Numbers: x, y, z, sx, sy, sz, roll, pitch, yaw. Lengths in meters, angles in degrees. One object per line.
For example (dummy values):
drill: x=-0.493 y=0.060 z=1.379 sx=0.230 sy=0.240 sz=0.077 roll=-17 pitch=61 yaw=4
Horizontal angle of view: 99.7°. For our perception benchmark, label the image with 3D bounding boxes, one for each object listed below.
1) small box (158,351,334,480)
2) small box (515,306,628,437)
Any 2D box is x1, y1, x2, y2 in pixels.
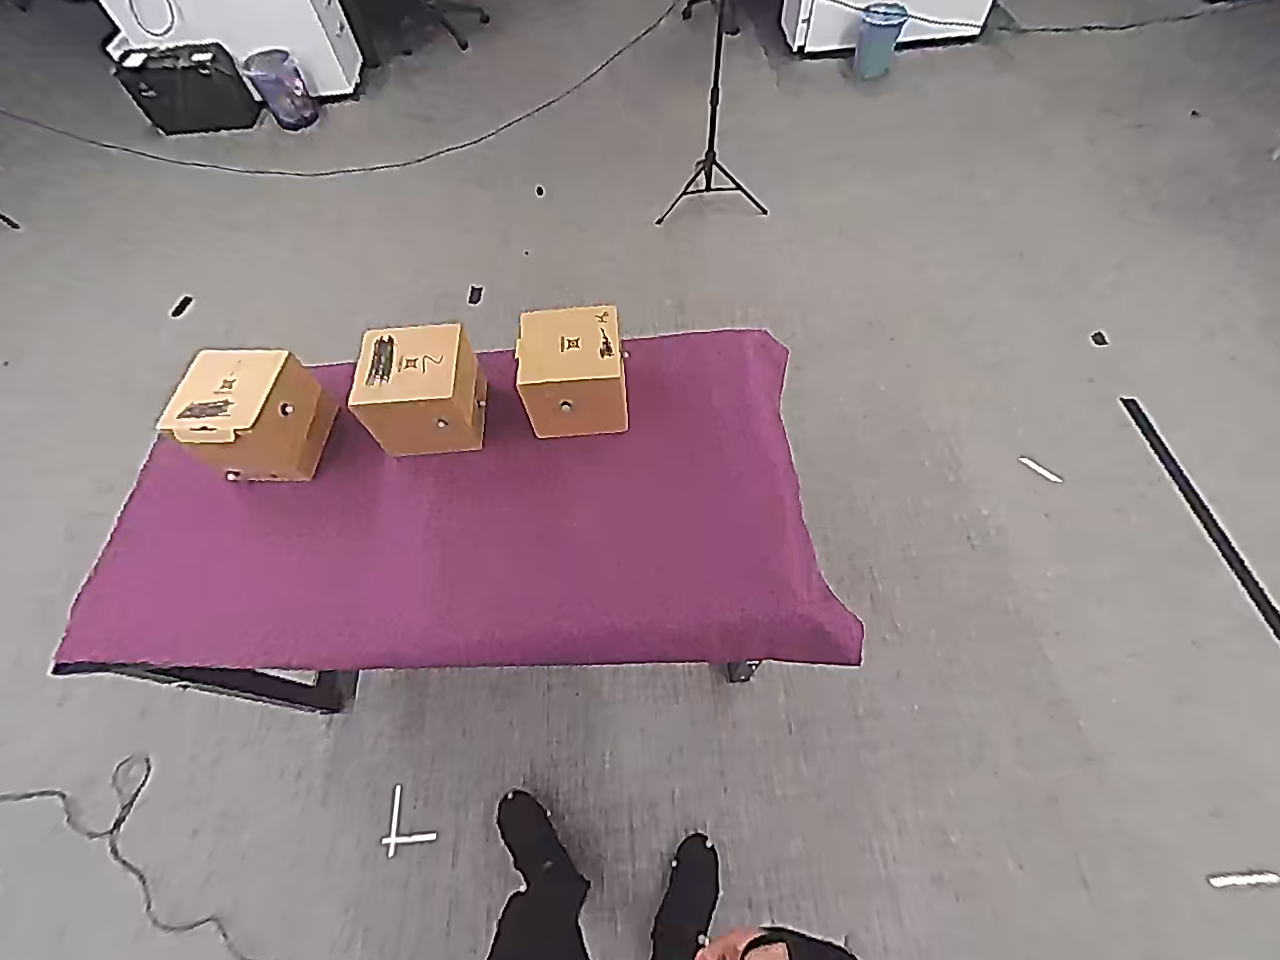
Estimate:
small box: x=-0.692 y=-0.110 z=0.977 sx=0.168 sy=0.176 sz=0.179 roll=1 pitch=60 yaw=3
small box: x=-0.119 y=-0.192 z=0.992 sx=0.179 sy=0.176 sz=0.168 roll=-5 pitch=63 yaw=1
